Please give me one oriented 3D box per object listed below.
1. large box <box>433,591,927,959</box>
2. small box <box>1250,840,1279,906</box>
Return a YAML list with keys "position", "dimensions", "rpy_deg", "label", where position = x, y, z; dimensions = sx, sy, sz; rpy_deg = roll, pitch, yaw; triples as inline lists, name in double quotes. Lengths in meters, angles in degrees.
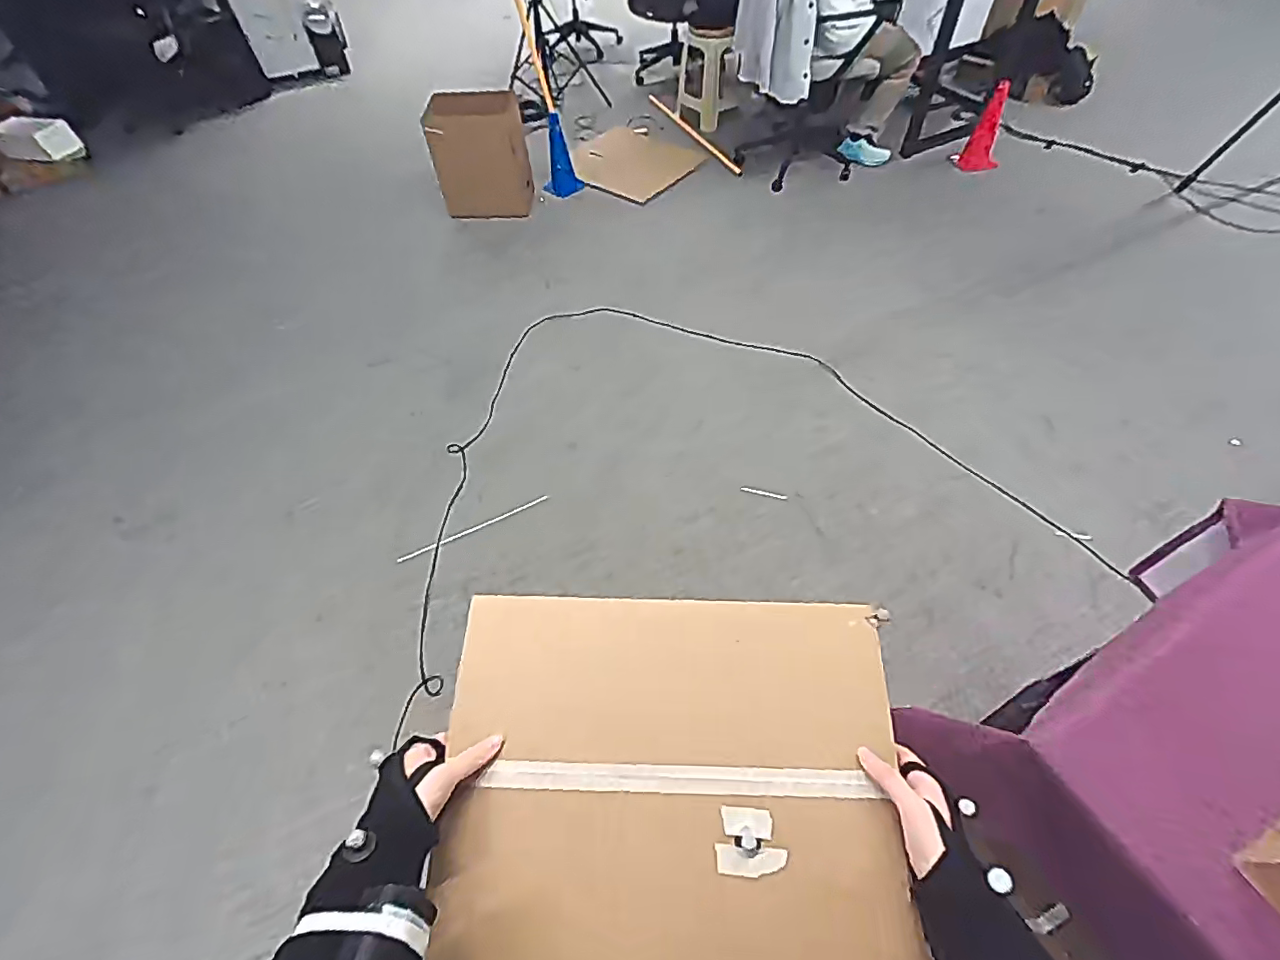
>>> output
- position: [0.034, 0.319, 0.624]
  dimensions: [0.408, 0.320, 0.320]
  rpy_deg: [1, 66, 2]
  label: "large box"
- position: [0.709, 0.374, 0.453]
  dimensions: [0.168, 0.176, 0.179]
  rpy_deg: [-23, 55, -11]
  label: "small box"
